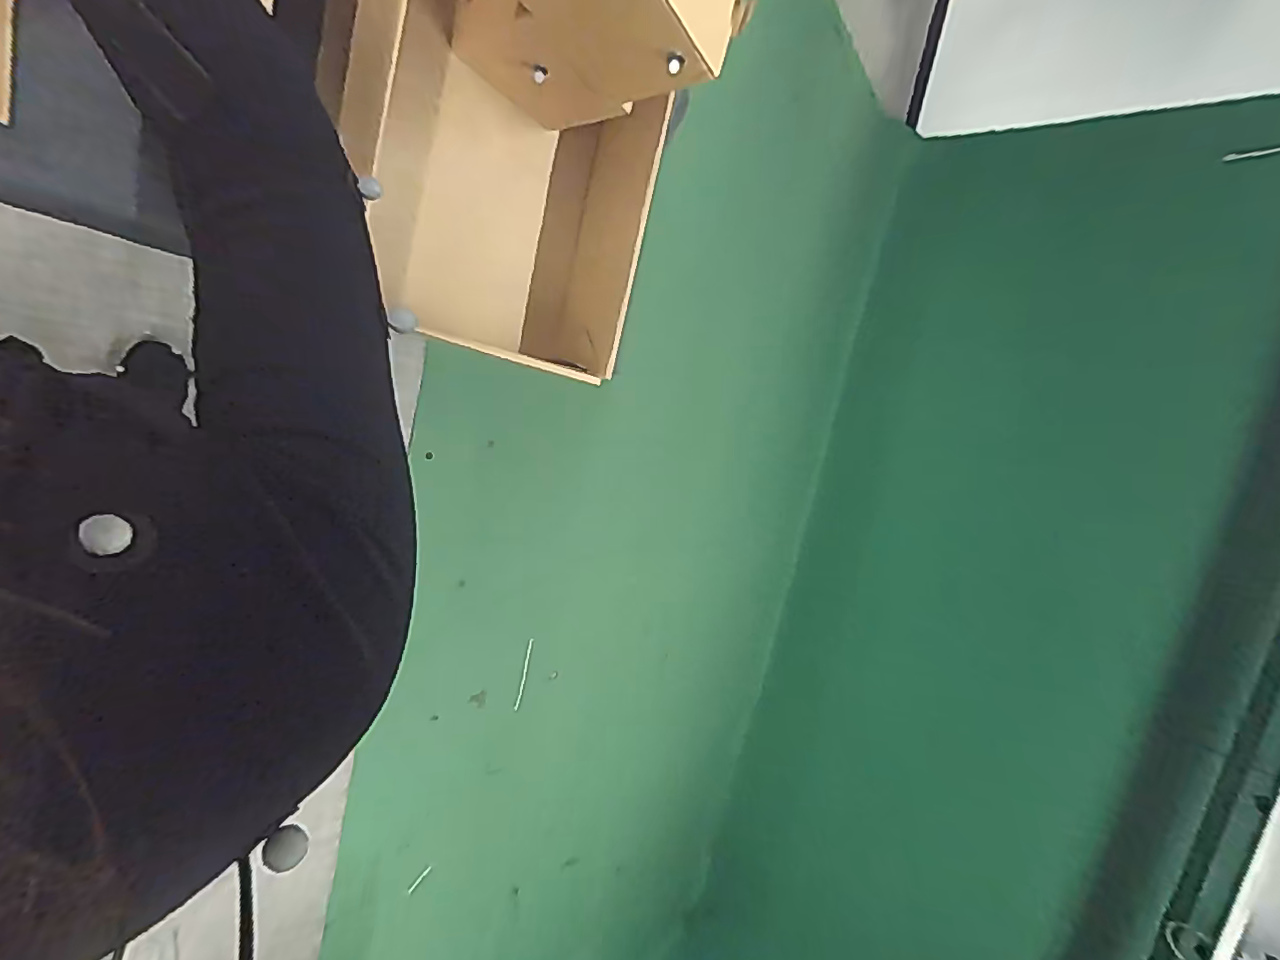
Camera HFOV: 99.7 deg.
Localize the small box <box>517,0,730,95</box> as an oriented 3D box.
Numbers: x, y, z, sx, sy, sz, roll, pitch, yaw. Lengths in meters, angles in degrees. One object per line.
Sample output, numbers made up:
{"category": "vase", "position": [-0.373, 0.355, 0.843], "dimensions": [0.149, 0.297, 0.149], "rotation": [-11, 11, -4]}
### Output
{"category": "small box", "position": [-0.014, -0.558, 0.583], "dimensions": [0.179, 0.176, 0.168], "rotation": [16, 92, -53]}
